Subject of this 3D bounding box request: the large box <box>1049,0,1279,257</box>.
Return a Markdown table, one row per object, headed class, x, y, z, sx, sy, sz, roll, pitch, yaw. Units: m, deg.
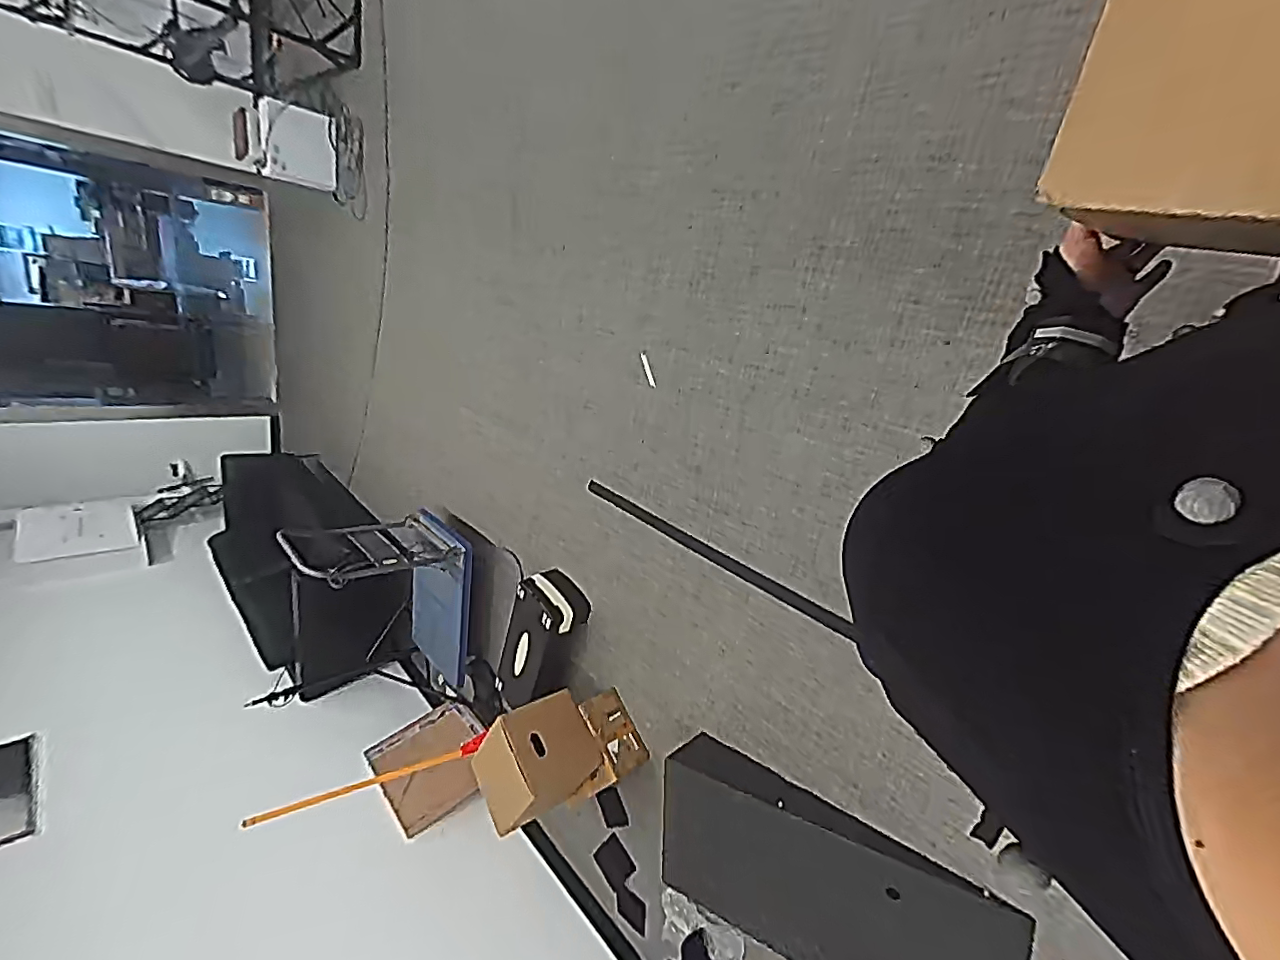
| class | x | y | z | sx | sy | sz | roll | pitch | yaw |
| --- | --- | --- | --- | --- | --- | --- | --- | --- | --- |
| large box | 0.494 | -0.261 | 0.233 | 0.408 | 0.320 | 0.320 | 28 | 123 | 38 |
